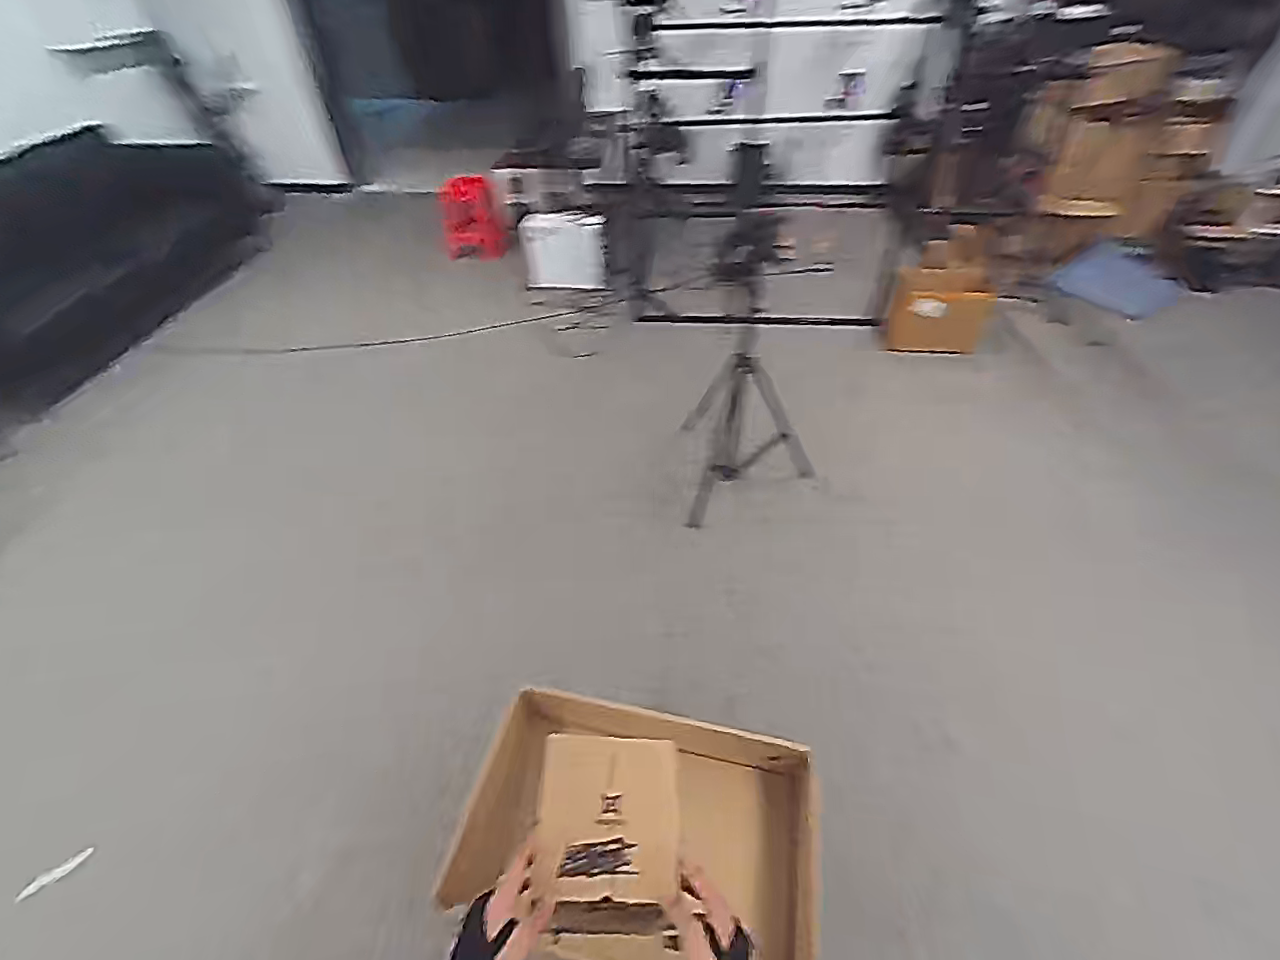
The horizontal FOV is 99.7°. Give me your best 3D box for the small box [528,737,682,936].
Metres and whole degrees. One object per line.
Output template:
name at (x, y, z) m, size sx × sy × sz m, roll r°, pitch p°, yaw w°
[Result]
small box at (-0.045, 0.450, 0.681) m, size 0.168 × 0.176 × 0.179 m, roll 6°, pitch 41°, yaw -6°
